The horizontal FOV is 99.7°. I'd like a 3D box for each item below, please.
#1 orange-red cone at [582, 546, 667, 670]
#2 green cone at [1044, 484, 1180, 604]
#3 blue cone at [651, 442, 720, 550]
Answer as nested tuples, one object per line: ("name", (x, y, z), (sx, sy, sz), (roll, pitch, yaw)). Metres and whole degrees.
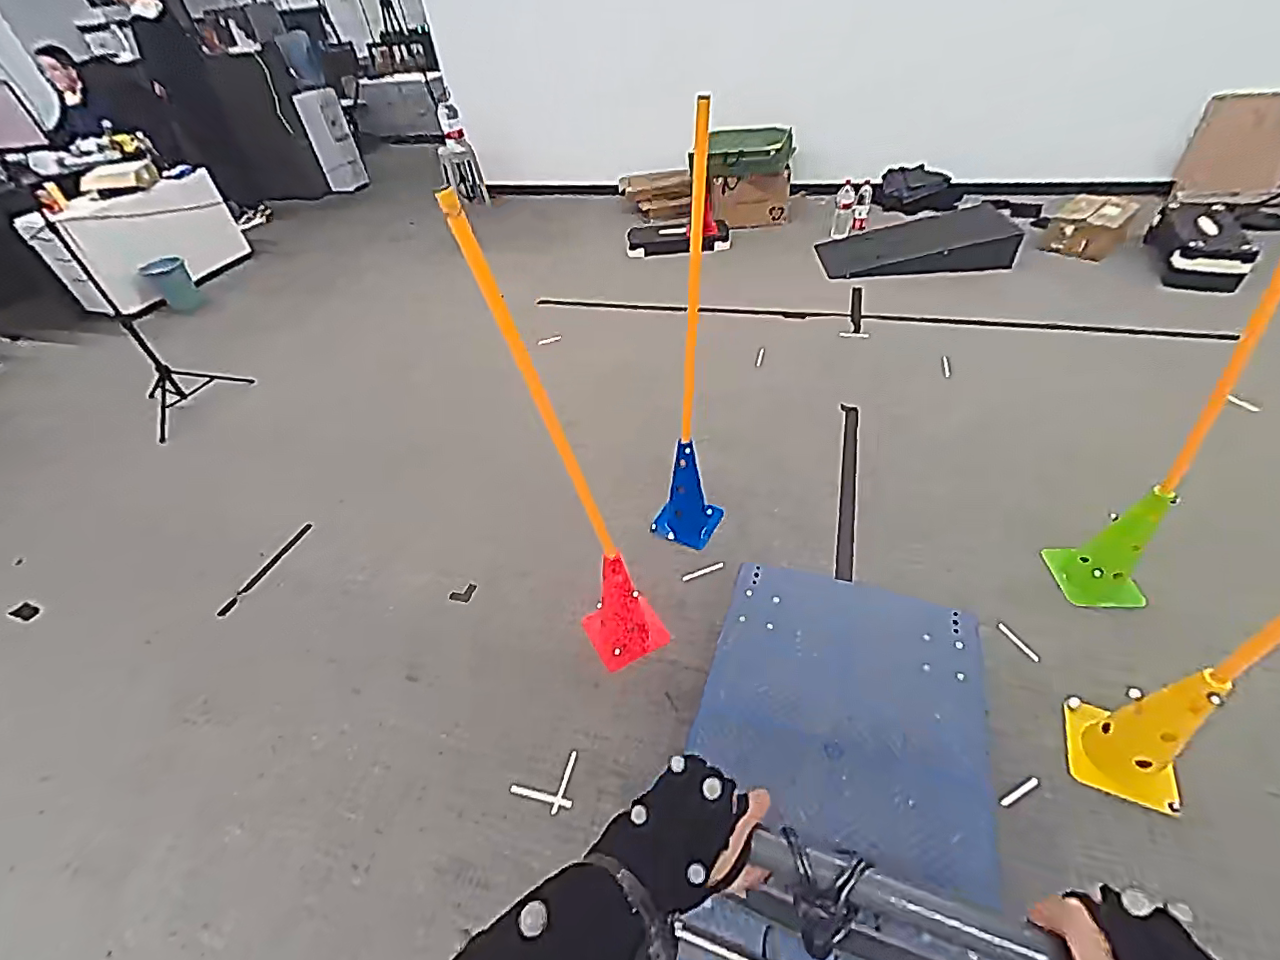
("orange-red cone", (-0.056, 0.301, 1.421), (0.199, 0.360, 0.198), (-22, 46, -18))
("green cone", (1.283, 0.146, 1.425), (0.200, 0.368, 0.202), (-2, 45, 5))
("blue cone", (0.142, 0.027, 1.708), (0.193, 0.380, 0.192), (20, 50, 25))
